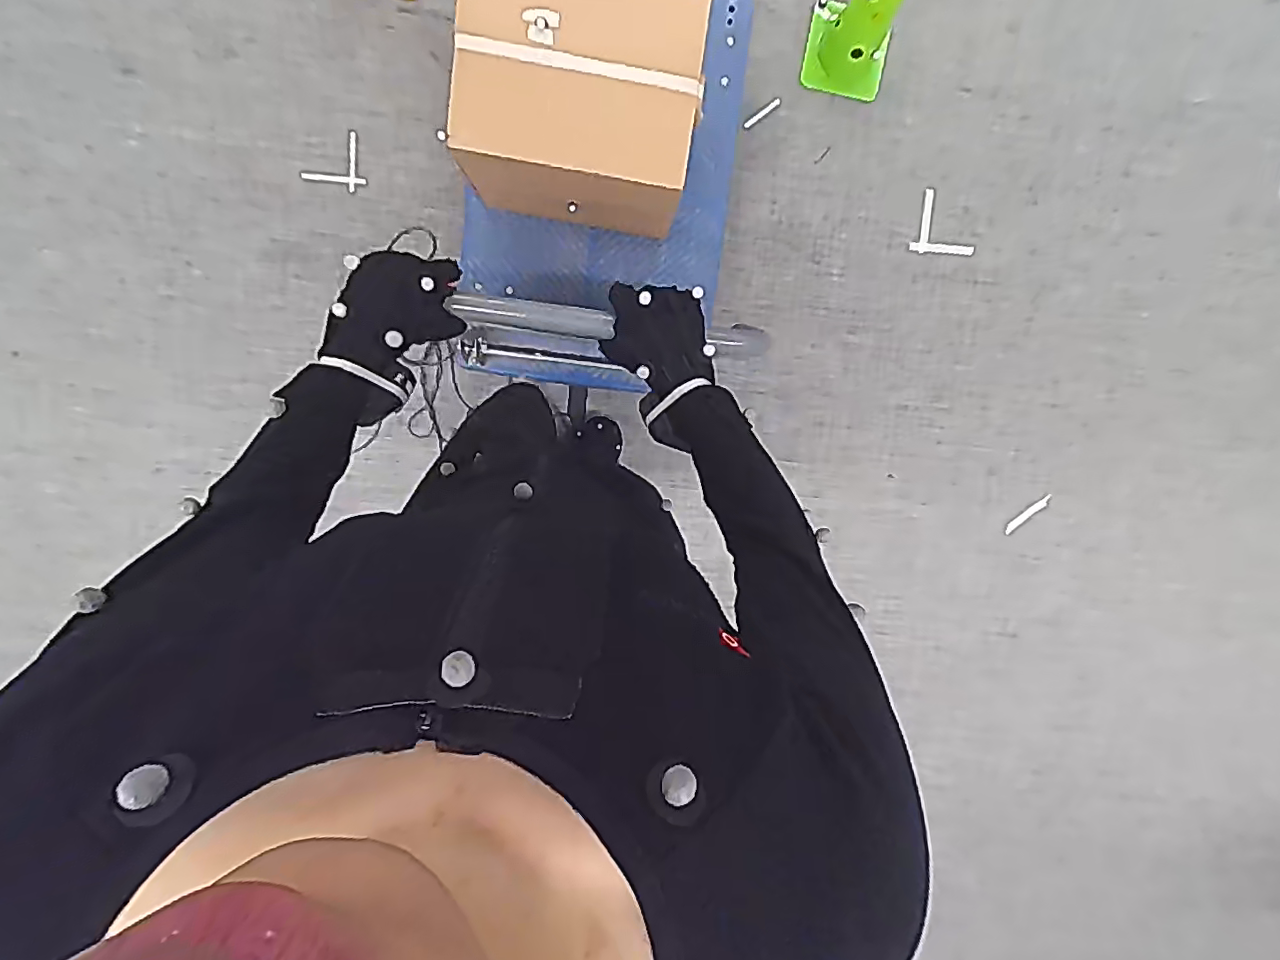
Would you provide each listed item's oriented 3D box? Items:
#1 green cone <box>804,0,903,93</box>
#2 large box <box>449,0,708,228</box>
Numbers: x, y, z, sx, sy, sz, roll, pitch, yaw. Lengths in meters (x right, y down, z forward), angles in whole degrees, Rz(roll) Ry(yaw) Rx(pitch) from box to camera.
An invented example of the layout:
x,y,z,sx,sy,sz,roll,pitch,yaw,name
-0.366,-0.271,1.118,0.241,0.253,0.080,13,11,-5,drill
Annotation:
x,y,z,sx,sy,sz,roll,pitch,yaw,name
0.526,-1.051,1.162,0.202,0.368,0.200,9,98,-6,green cone
-0.106,-0.709,1.034,0.408,0.320,0.320,8,99,-4,large box
